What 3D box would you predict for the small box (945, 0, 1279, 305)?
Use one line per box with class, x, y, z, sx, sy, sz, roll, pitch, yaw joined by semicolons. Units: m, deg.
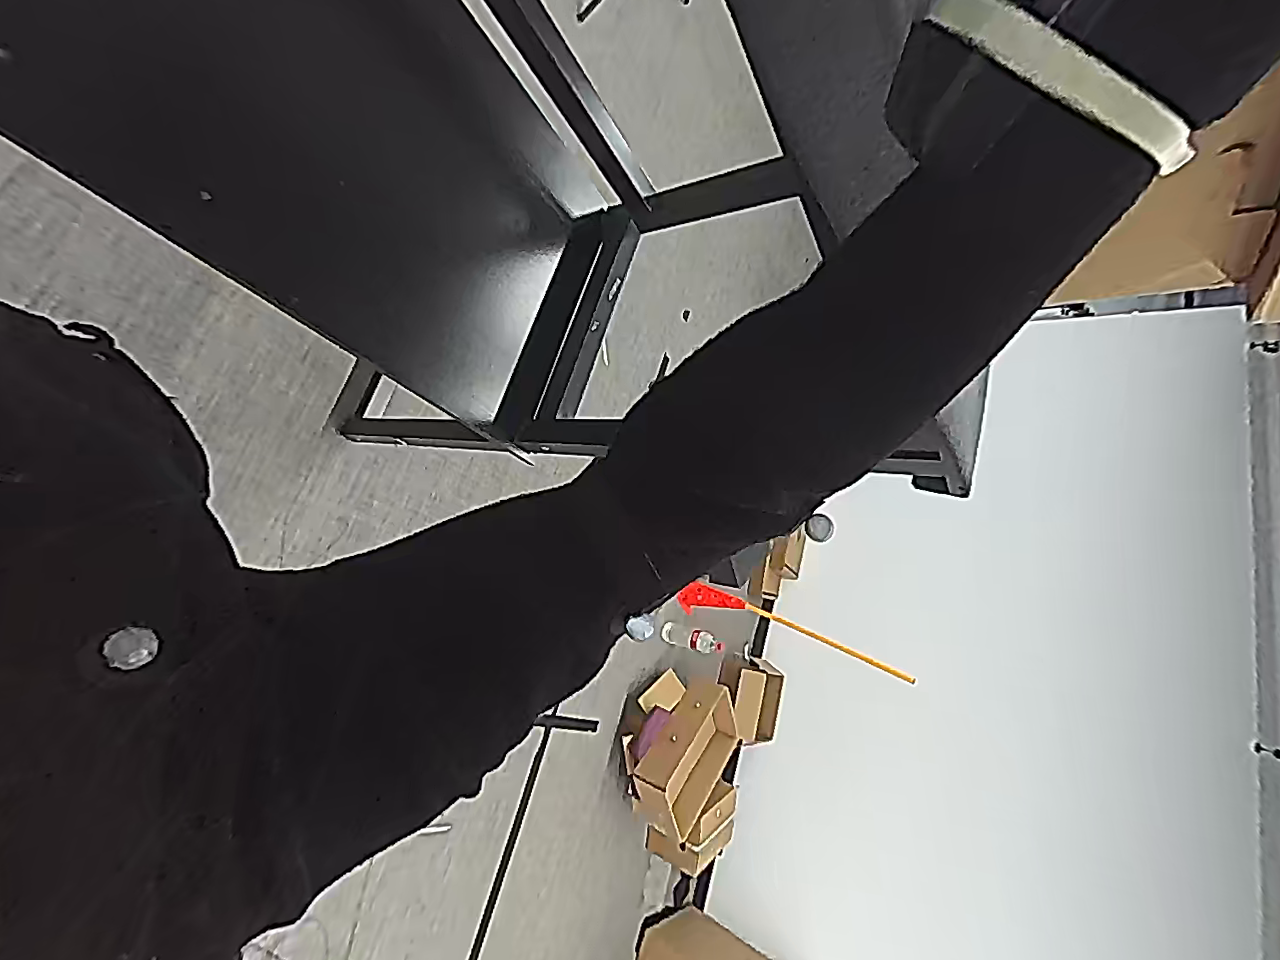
small box;0.309;-0.242;0.363;0.168;0.176;0.179;43;58;-47
